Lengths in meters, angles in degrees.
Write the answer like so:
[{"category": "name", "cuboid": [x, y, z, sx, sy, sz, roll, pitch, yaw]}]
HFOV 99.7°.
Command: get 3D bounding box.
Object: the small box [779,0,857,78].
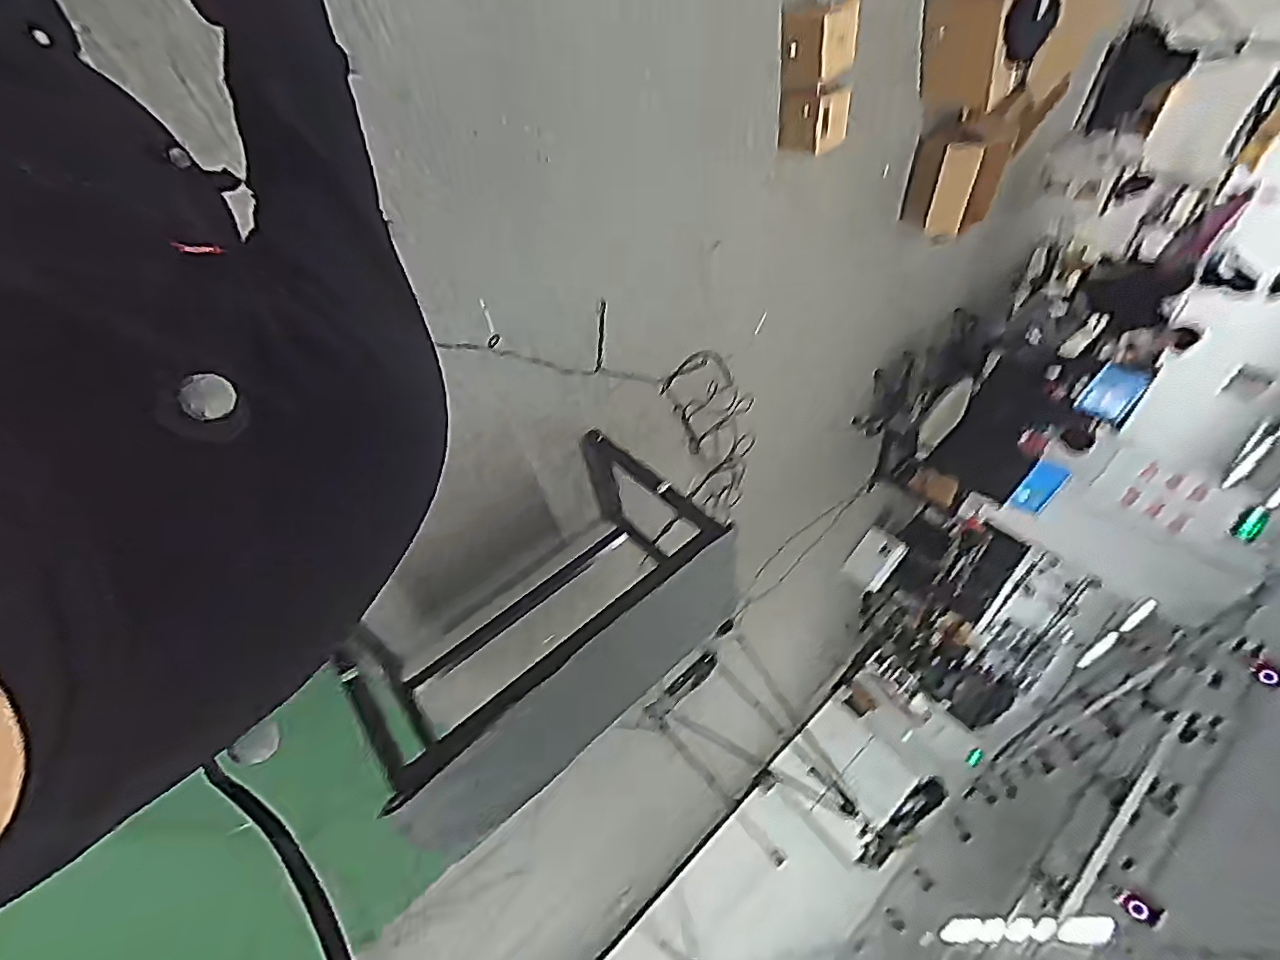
[{"category": "small box", "cuboid": [0.579, -1.452, 1.770, 0.179, 0.176, 0.168, -39, 142, -17]}]
